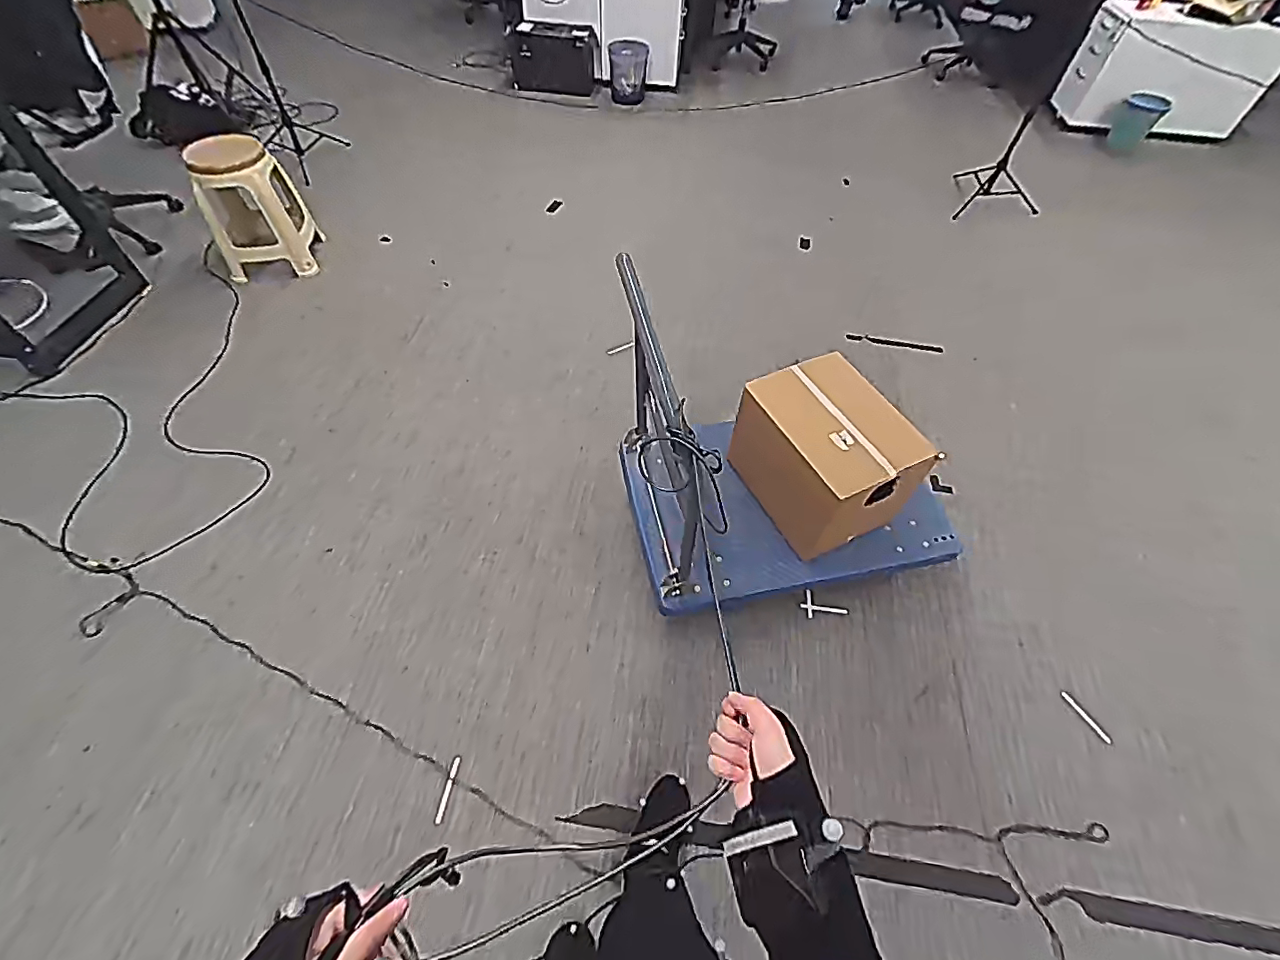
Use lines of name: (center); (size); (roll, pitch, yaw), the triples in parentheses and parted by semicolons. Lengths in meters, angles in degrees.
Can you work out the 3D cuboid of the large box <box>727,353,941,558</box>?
large box: (0.489, -0.068, 1.463); (0.320, 0.320, 0.408); (-22, 60, -16)
